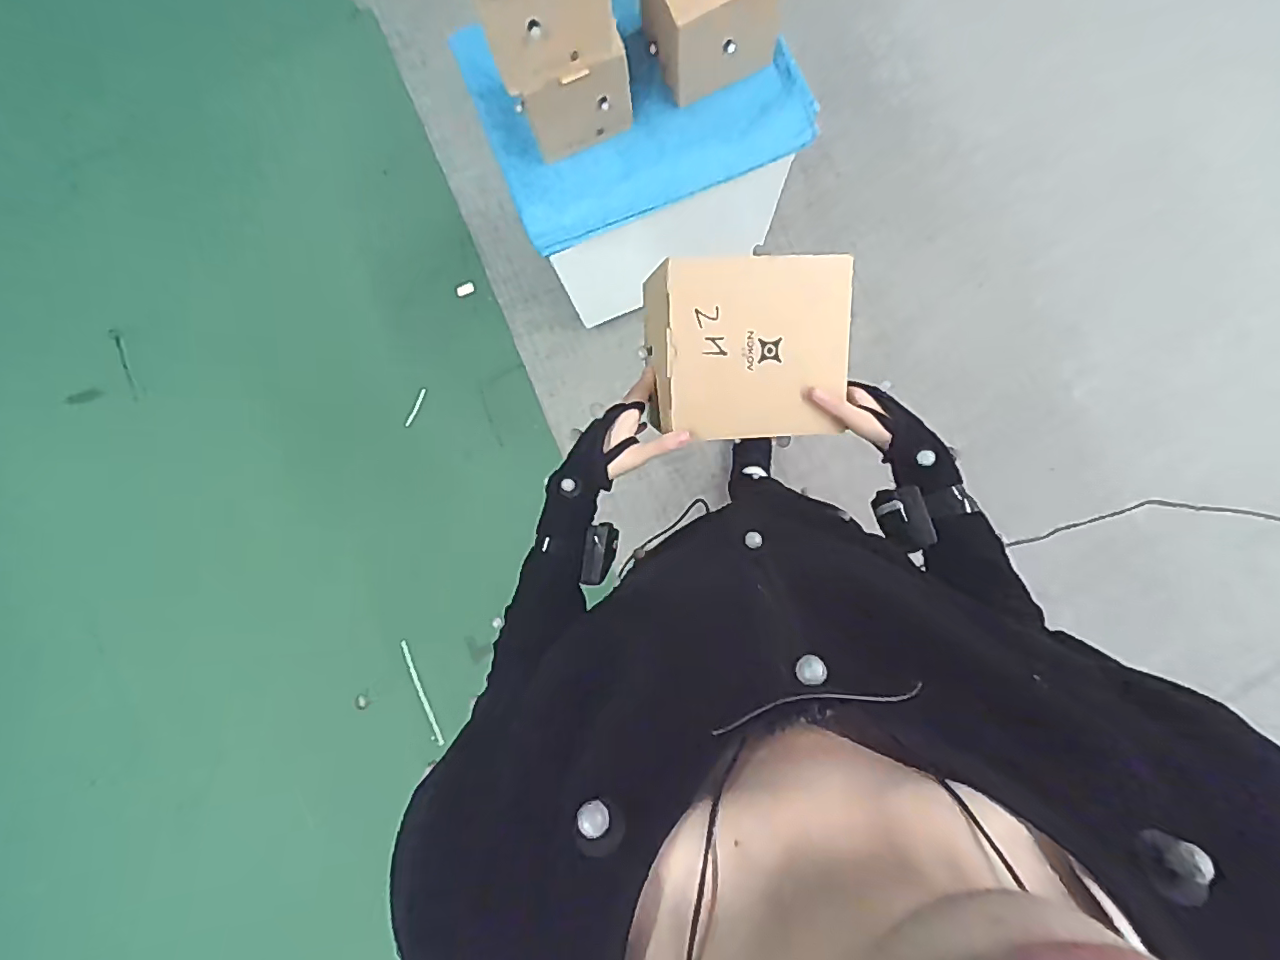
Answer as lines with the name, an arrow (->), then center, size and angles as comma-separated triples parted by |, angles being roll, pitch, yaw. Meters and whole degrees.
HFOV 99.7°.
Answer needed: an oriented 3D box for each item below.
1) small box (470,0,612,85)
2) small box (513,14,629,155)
small box -> -0.143, -0.661, 0.702 | 0.168, 0.176, 0.179 | -20, 86, 2
small box -> -0.123, -0.659, 0.863 | 0.168, 0.176, 0.179 | -21, 86, 1
